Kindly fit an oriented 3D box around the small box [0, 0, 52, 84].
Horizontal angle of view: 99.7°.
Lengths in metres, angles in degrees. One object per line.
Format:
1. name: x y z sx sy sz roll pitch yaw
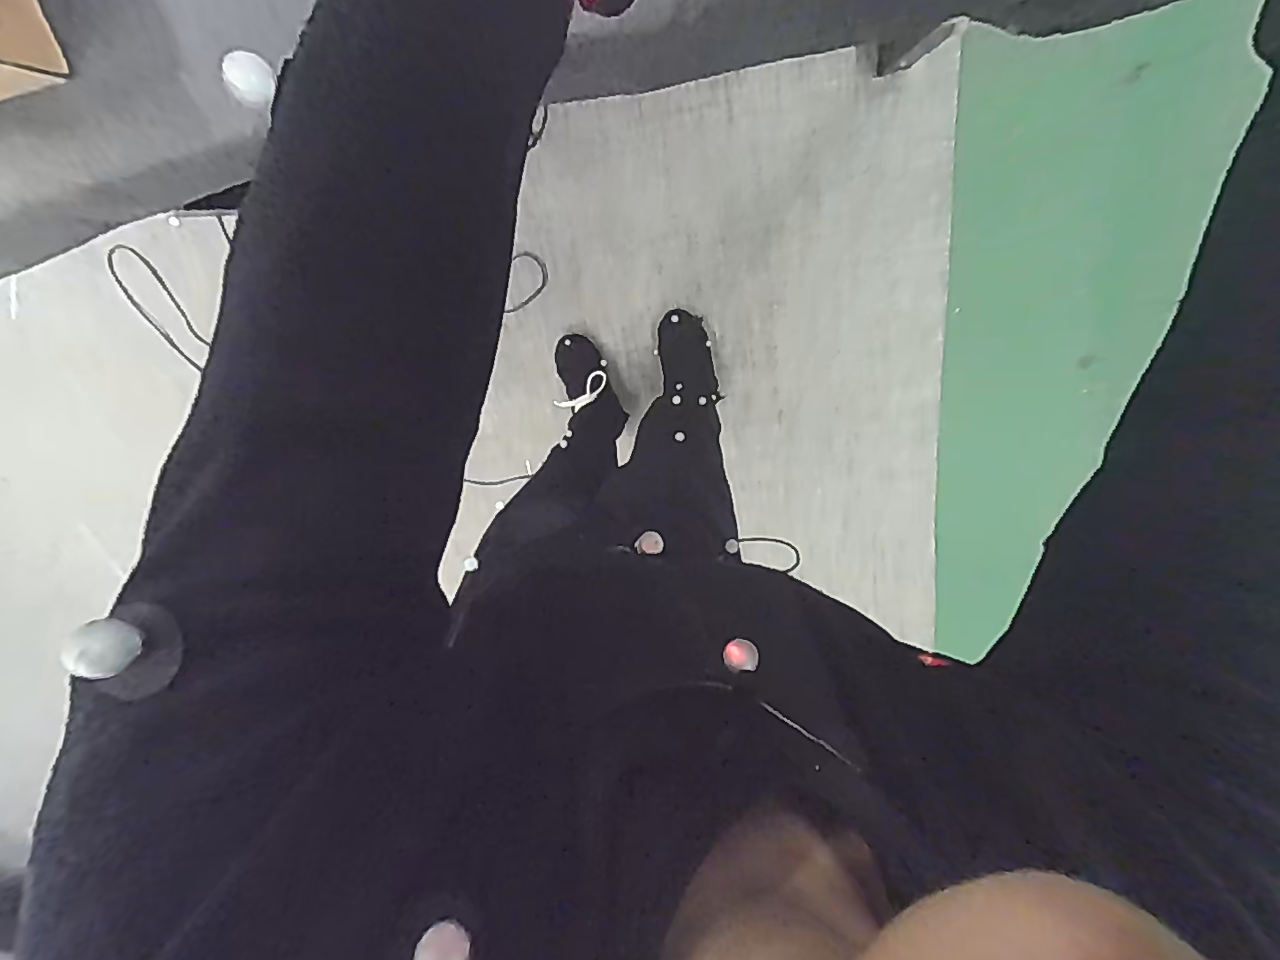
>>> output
1. small box: -0.586 -0.376 0.362 0.179 0.176 0.168 -4 115 10
